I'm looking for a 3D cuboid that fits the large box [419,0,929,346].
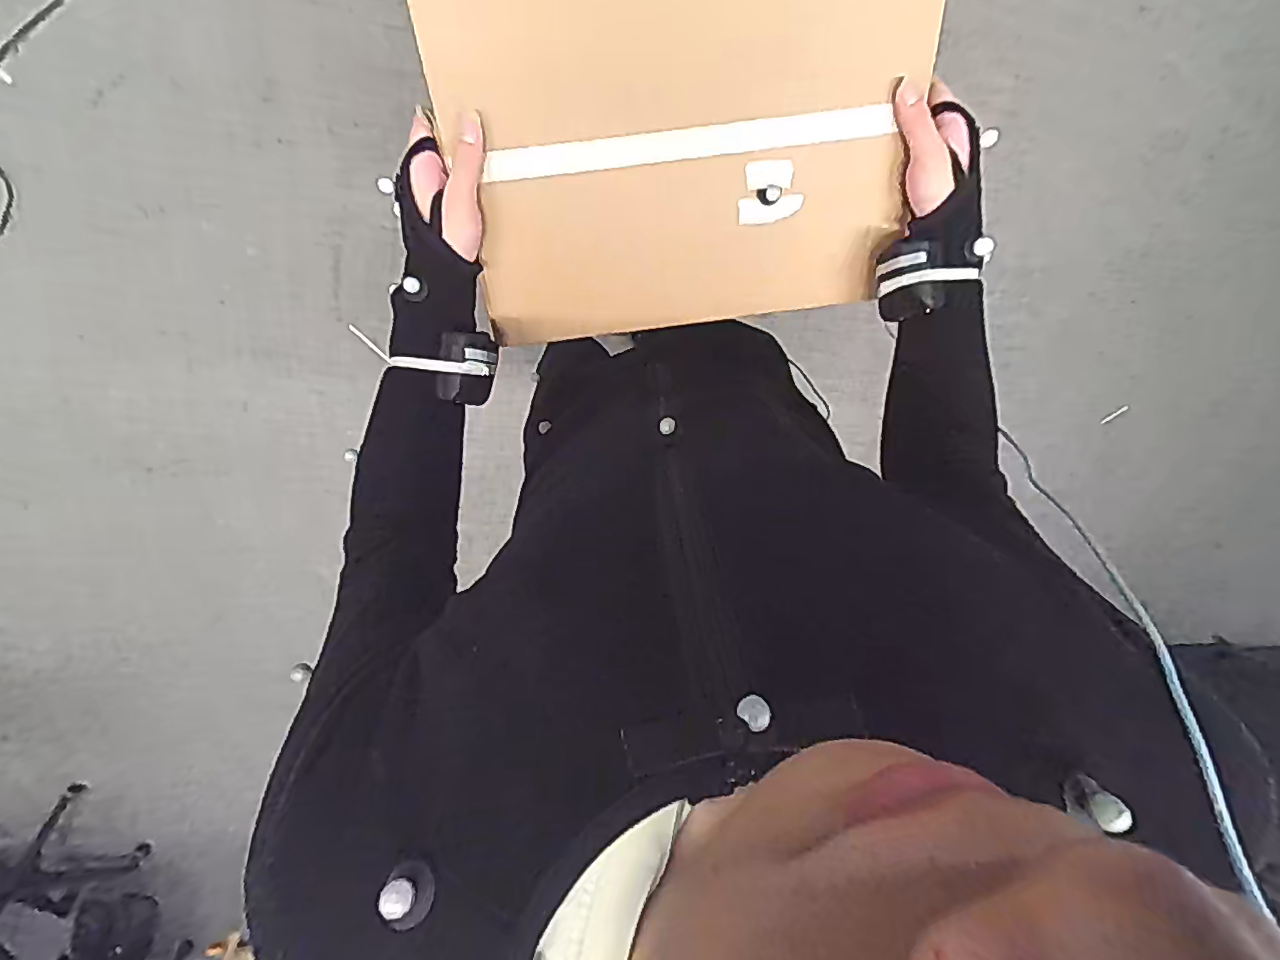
[{"bbox_3d":[0.024,-0.370,0.593,0.408,0.320,0.320,-8,125,-3],"label":"large box"}]
